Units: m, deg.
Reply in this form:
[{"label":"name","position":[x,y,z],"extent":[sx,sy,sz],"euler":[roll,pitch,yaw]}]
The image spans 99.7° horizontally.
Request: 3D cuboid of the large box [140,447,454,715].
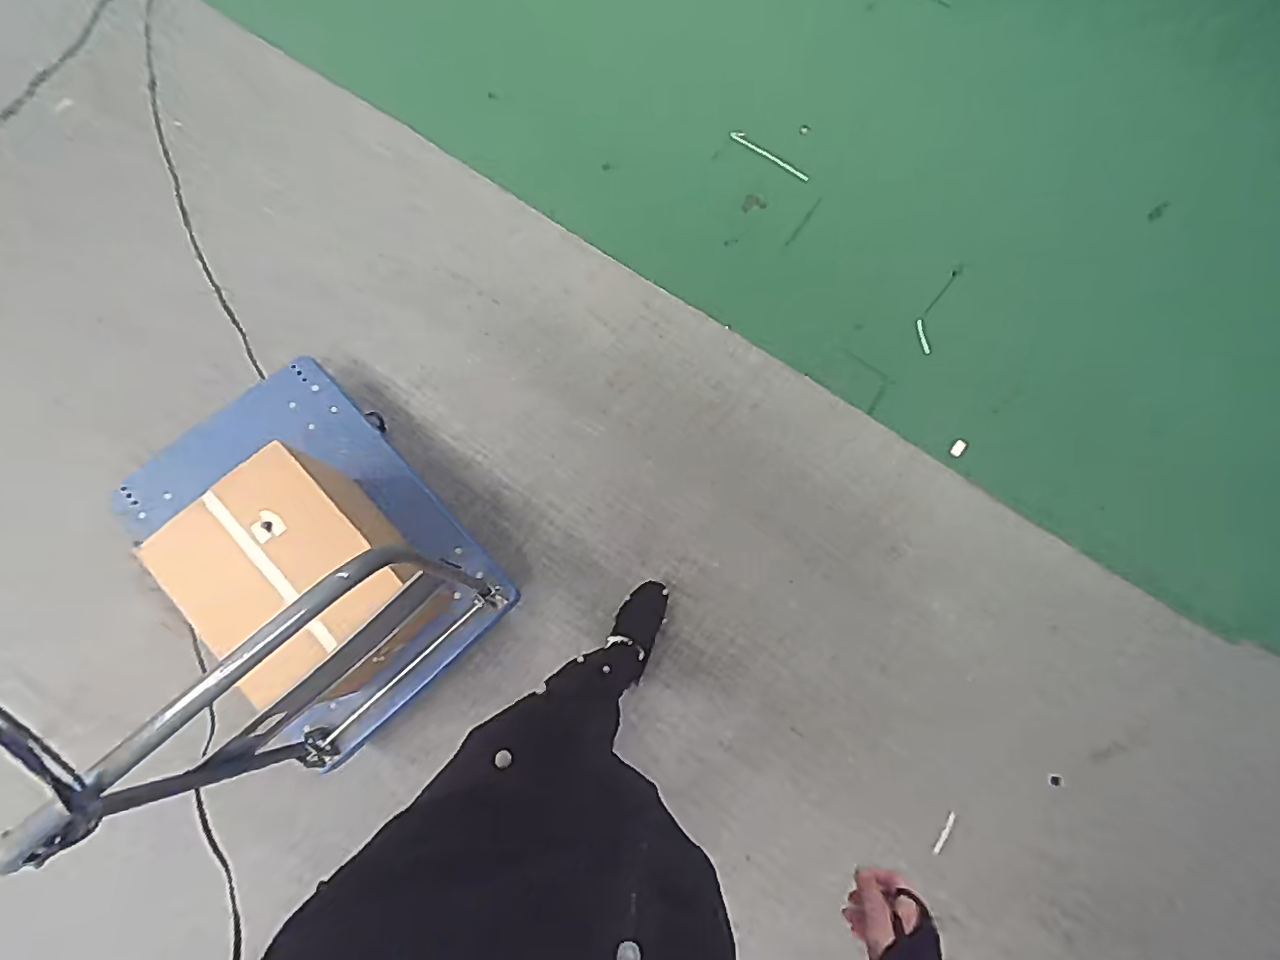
[{"label":"large box","position":[-0.672,0.208,1.129],"extent":[0.320,0.320,0.408],"euler":[-43,80,-12]}]
